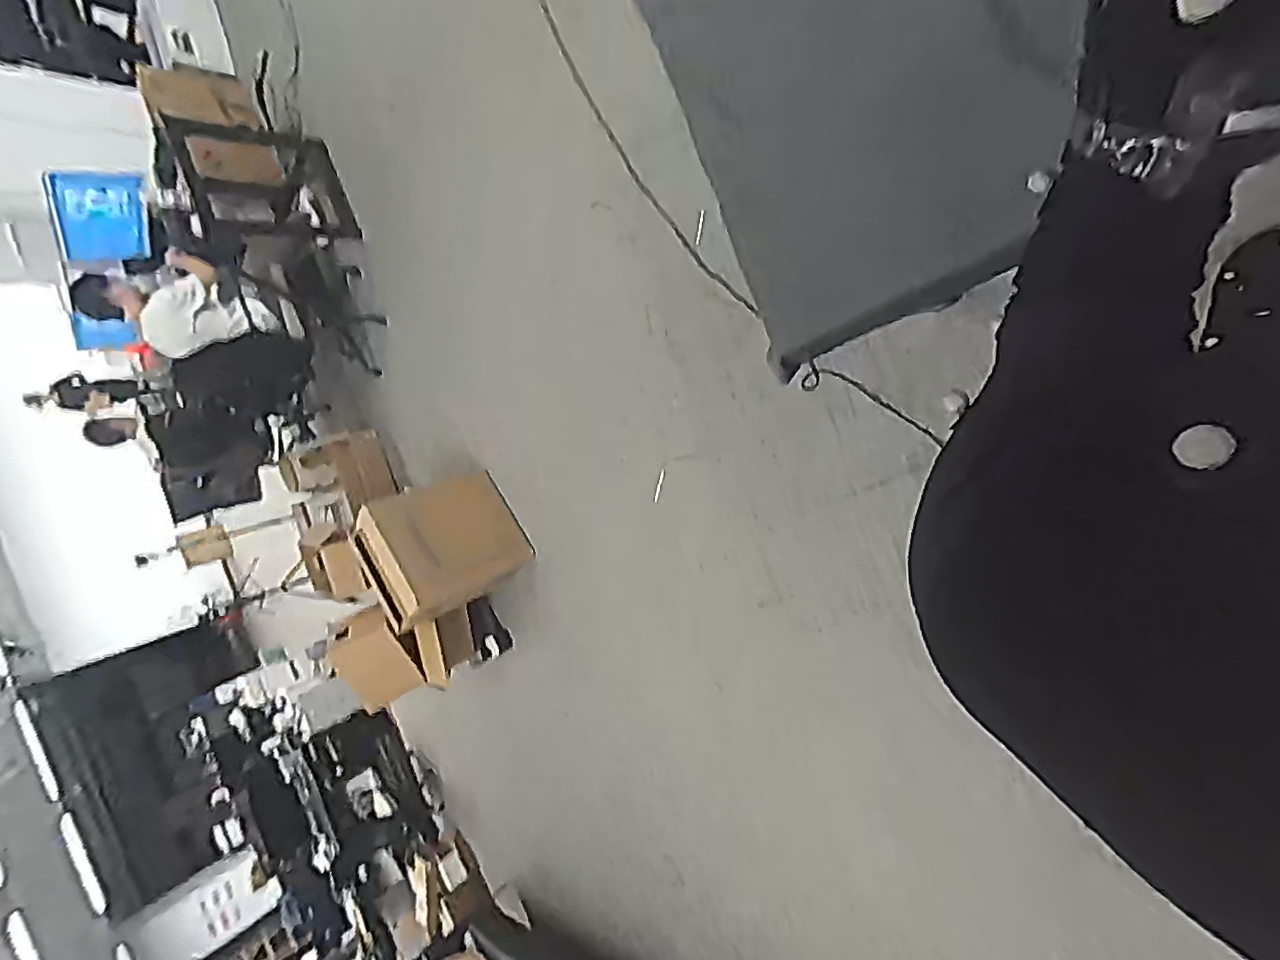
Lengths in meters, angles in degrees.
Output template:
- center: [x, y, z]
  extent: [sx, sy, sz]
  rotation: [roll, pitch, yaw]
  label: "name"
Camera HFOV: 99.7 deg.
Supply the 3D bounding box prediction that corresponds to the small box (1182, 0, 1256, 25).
- center: [0.439, -0.448, 0.334]
  extent: [0.179, 0.176, 0.168]
  rotation: [-22, 88, 47]
  label: "small box"
